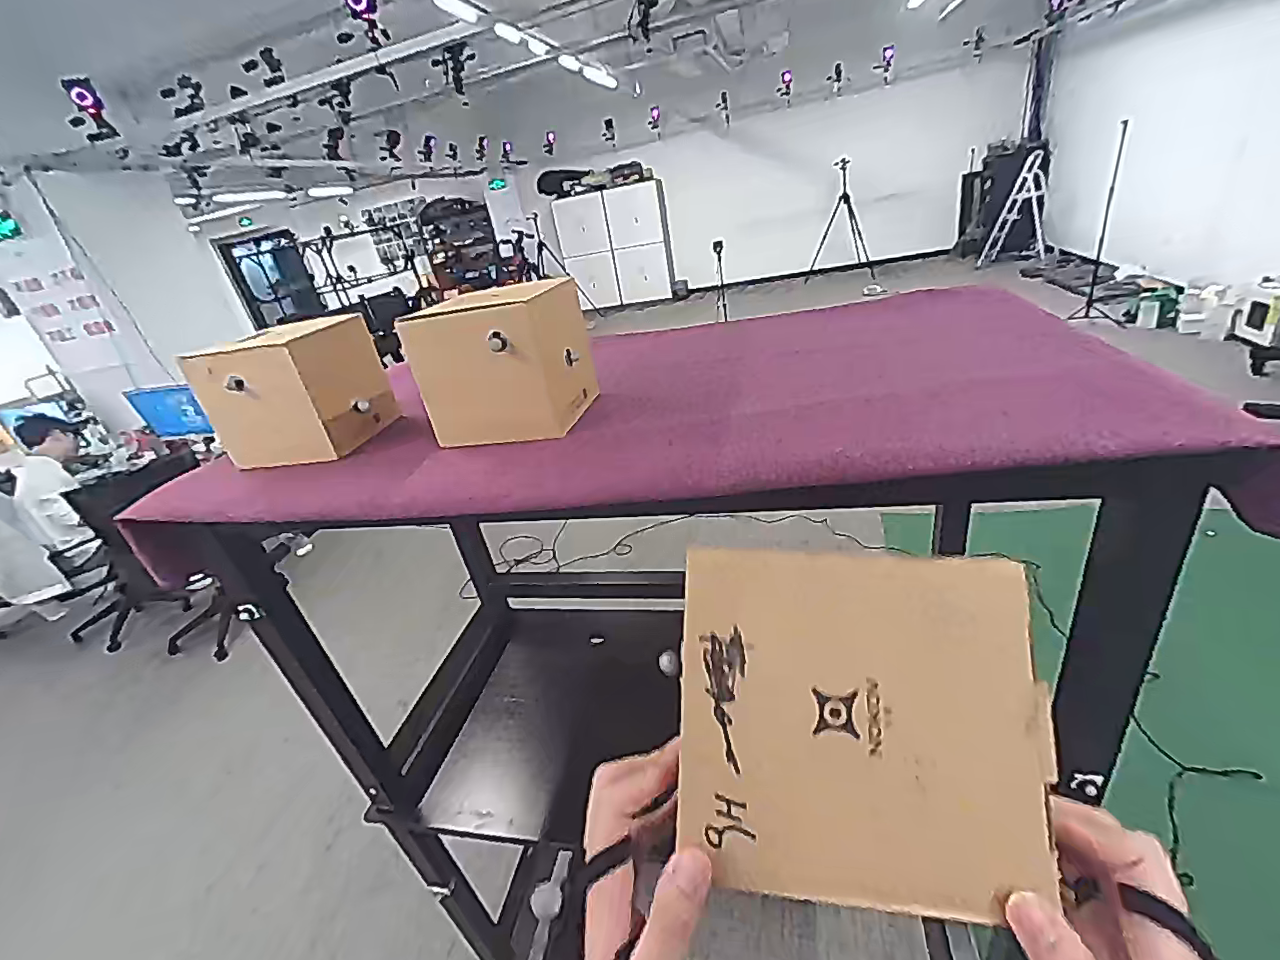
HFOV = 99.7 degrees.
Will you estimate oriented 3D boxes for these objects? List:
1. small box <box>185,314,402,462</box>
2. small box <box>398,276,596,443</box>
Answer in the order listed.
[{"bbox_3d":[-0.493,-0.134,0.797,0.179,0.176,0.168,-4,28,13],"label":"small box"},{"bbox_3d":[-0.172,-0.158,0.716,0.179,0.176,0.168,-3,27,17],"label":"small box"}]
